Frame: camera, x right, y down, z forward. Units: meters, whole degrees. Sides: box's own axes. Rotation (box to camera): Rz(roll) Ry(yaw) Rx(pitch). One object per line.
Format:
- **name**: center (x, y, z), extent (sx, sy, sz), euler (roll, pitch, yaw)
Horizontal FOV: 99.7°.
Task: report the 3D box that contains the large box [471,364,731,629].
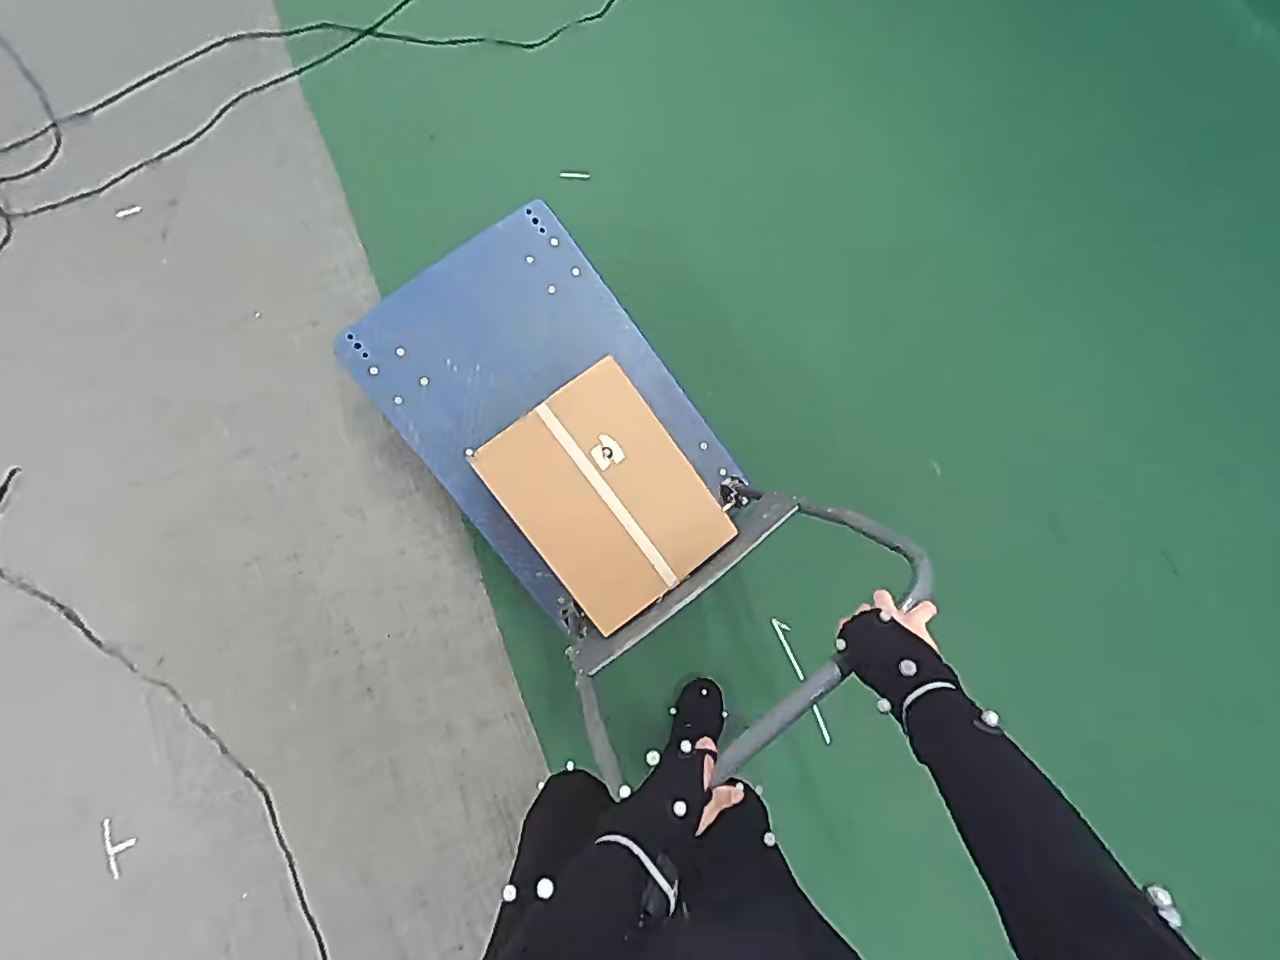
- **large box**: center (-0.080, 0.030, 1.137), extent (0.320, 0.320, 0.408), euler (-38, 95, -6)
